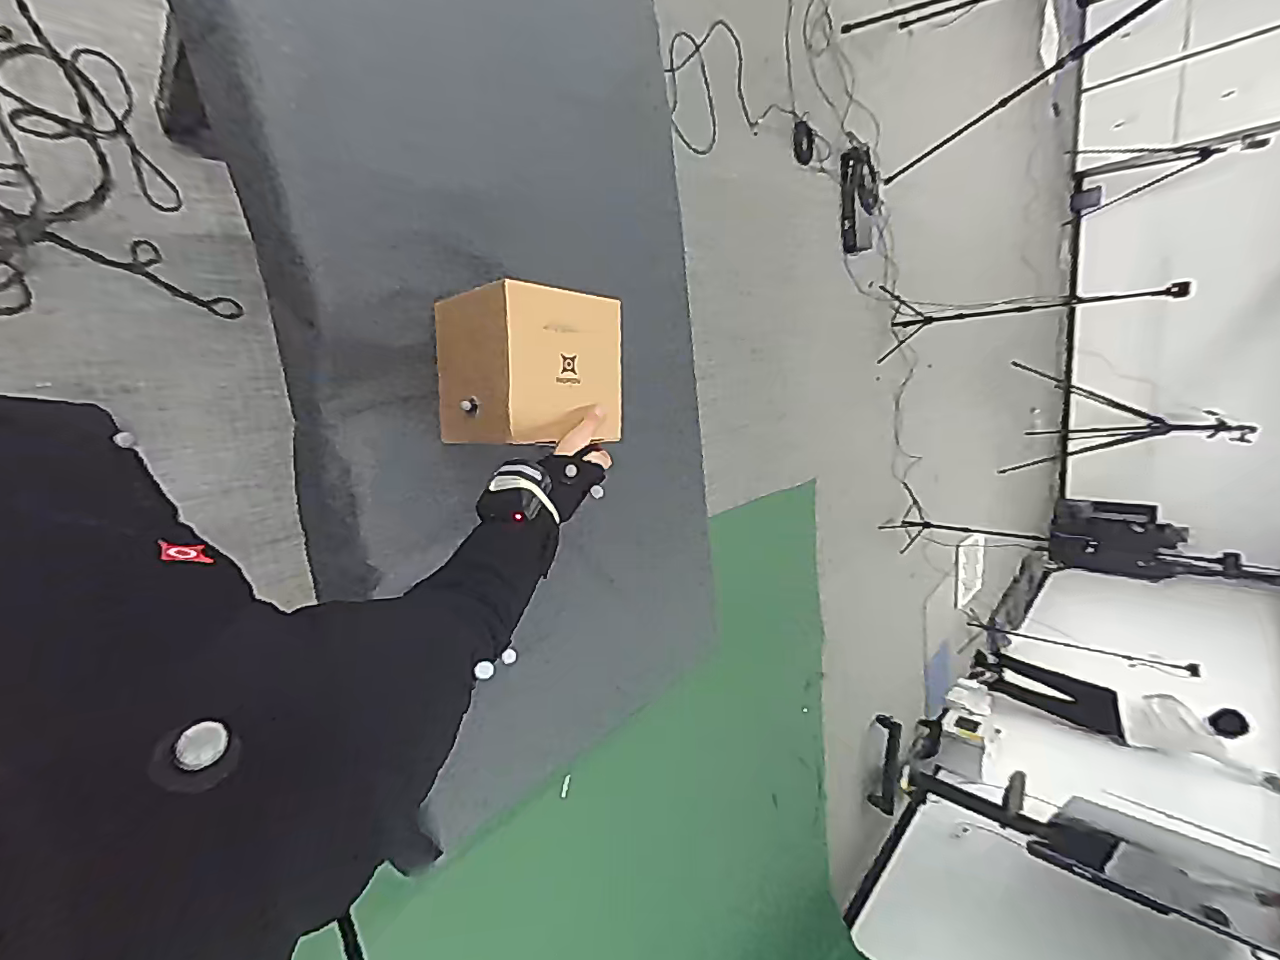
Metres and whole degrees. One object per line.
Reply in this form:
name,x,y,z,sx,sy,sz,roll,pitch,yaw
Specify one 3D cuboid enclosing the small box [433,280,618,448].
small box,-0.144,-0.135,0.681,0.168,0.176,0.179,-8,99,-46
